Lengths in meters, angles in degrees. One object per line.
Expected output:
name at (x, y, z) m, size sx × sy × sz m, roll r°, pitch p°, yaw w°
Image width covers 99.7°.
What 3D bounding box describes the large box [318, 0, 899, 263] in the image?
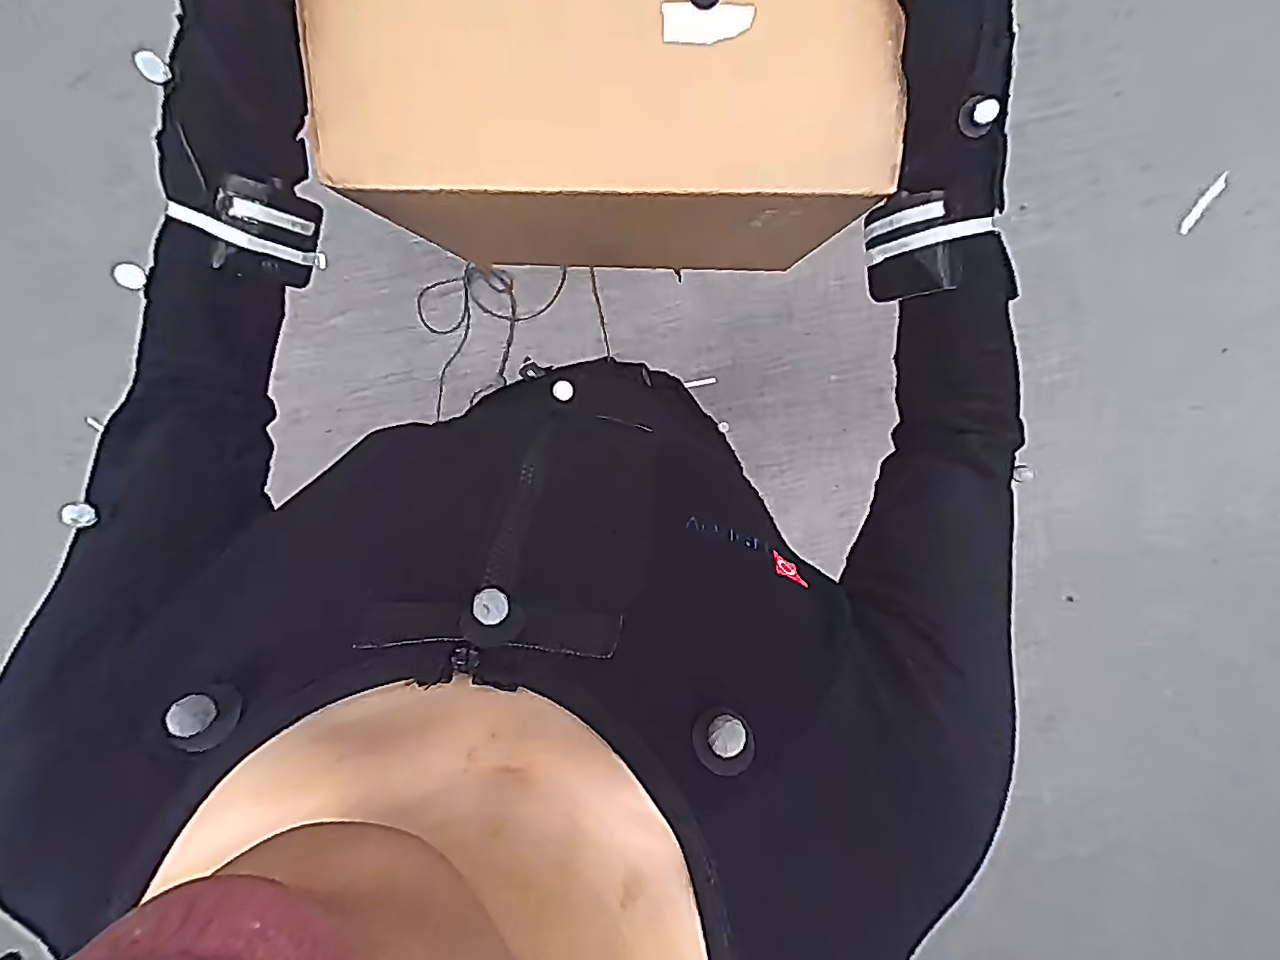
large box at (-0.021, -0.396, 0.505) m, size 0.408 × 0.320 × 0.320 m, roll 1°, pitch 102°, yaw 1°
